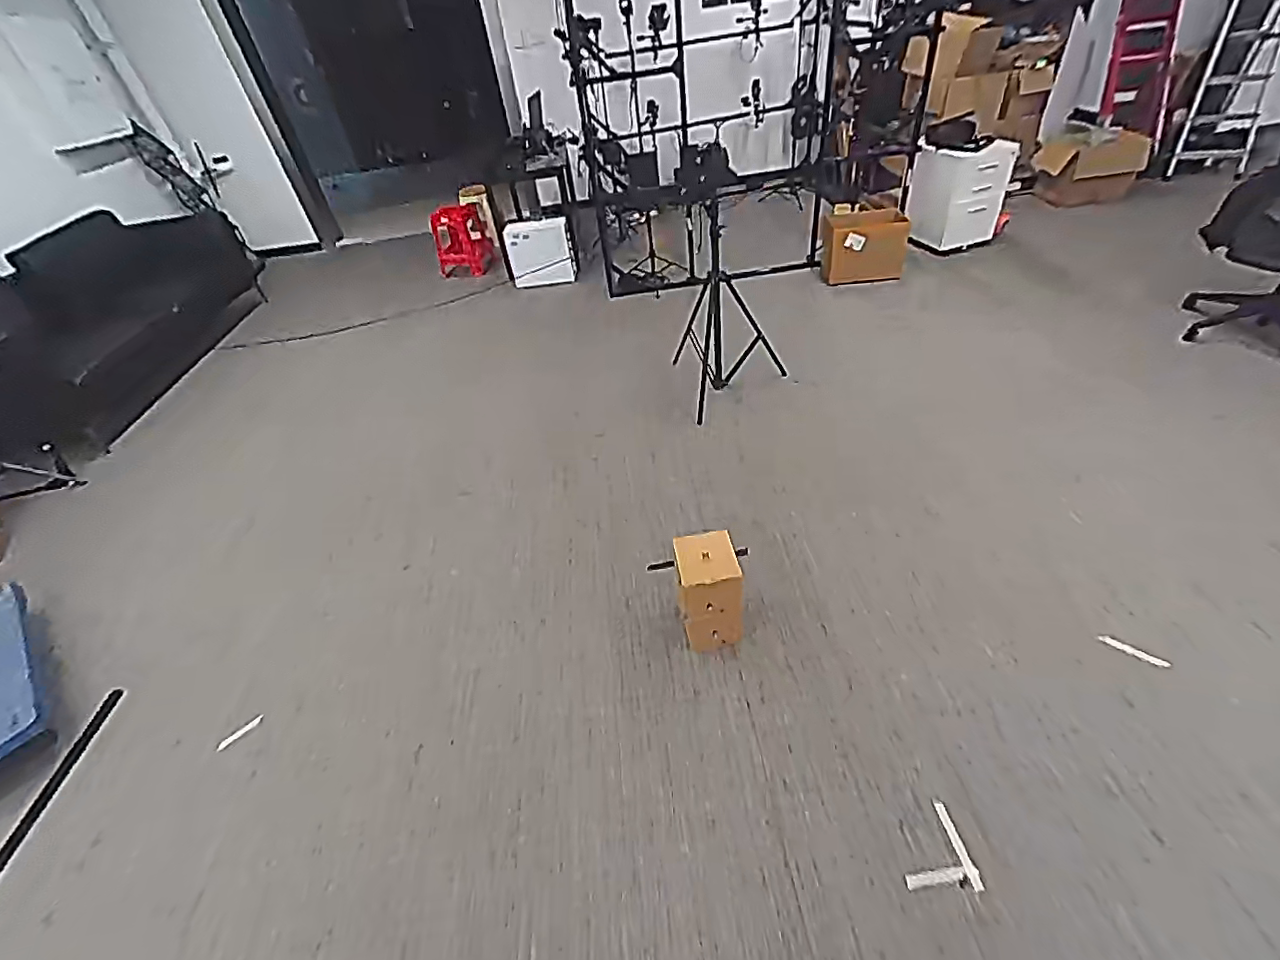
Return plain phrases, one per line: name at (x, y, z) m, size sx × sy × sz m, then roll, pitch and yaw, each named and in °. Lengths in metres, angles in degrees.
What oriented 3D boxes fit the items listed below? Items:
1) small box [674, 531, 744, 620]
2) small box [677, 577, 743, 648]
small box at (0.197, 0.276, 1.563) m, size 0.168 × 0.176 × 0.179 m, roll -10°, pitch 42°, yaw -1°
small box at (0.217, 0.399, 1.669) m, size 0.168 × 0.176 × 0.179 m, roll -11°, pitch 40°, yaw -2°
